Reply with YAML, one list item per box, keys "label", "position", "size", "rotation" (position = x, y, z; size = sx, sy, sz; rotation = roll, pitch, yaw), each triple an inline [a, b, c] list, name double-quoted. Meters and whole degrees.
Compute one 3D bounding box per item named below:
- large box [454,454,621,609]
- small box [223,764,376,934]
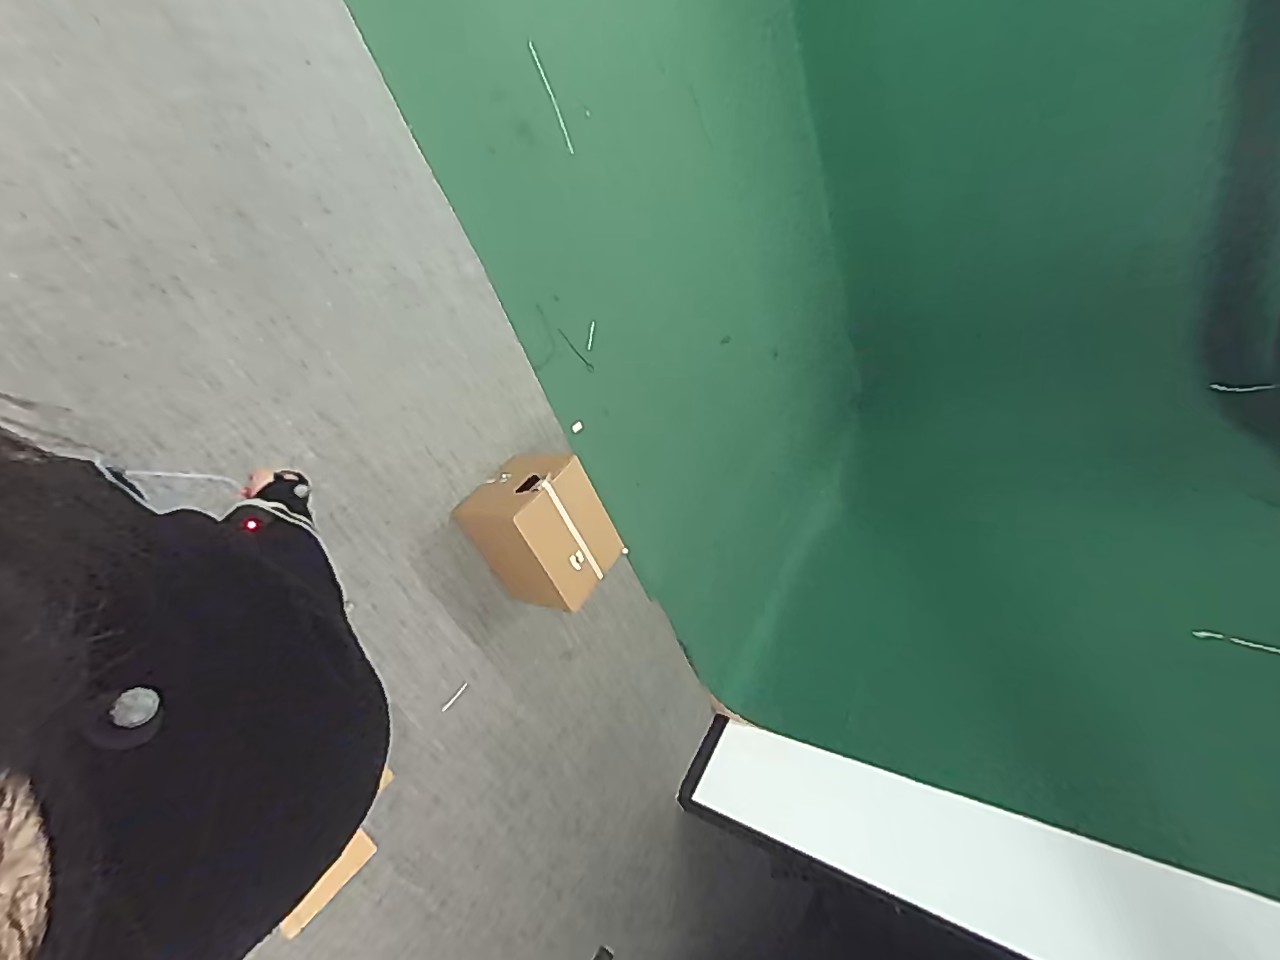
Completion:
- label: "large box"
  position: [-0.329, 0.162, 1.794]
  size: [0.320, 0.320, 0.408]
  rotation: [-50, 128, -37]
- label: "small box"
  position: [-0.655, 0.692, 1.034]
  size: [0.179, 0.176, 0.168]
  rotation: [-40, 124, -43]
